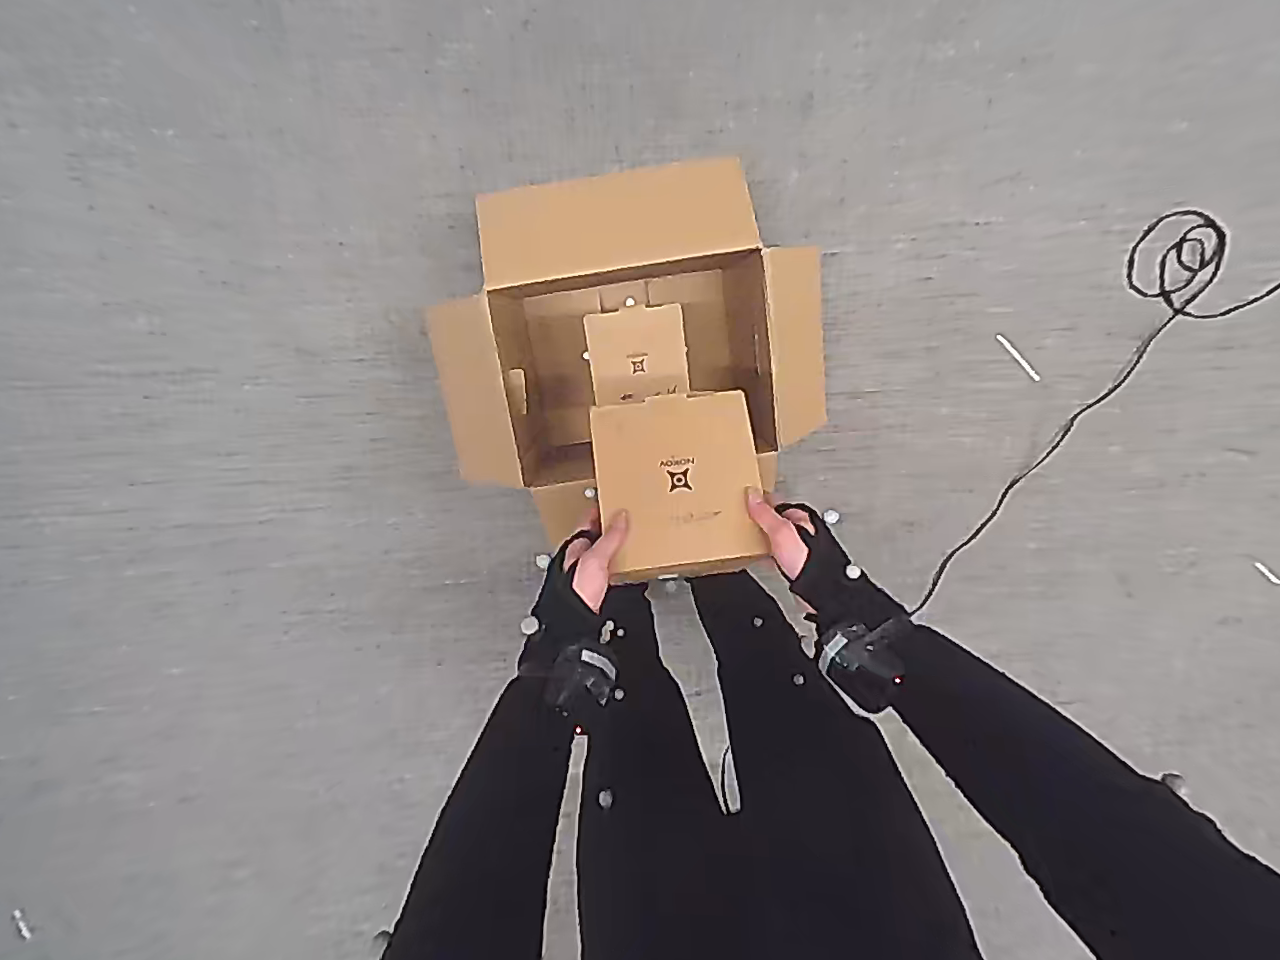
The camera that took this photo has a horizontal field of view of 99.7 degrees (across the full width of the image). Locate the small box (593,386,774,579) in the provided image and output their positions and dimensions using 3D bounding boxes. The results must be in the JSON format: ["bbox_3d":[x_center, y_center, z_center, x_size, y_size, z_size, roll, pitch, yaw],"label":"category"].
[{"bbox_3d":[0.038,0.012,0.620,0.168,0.176,0.179,-7,77,-3],"label":"small box"}]
